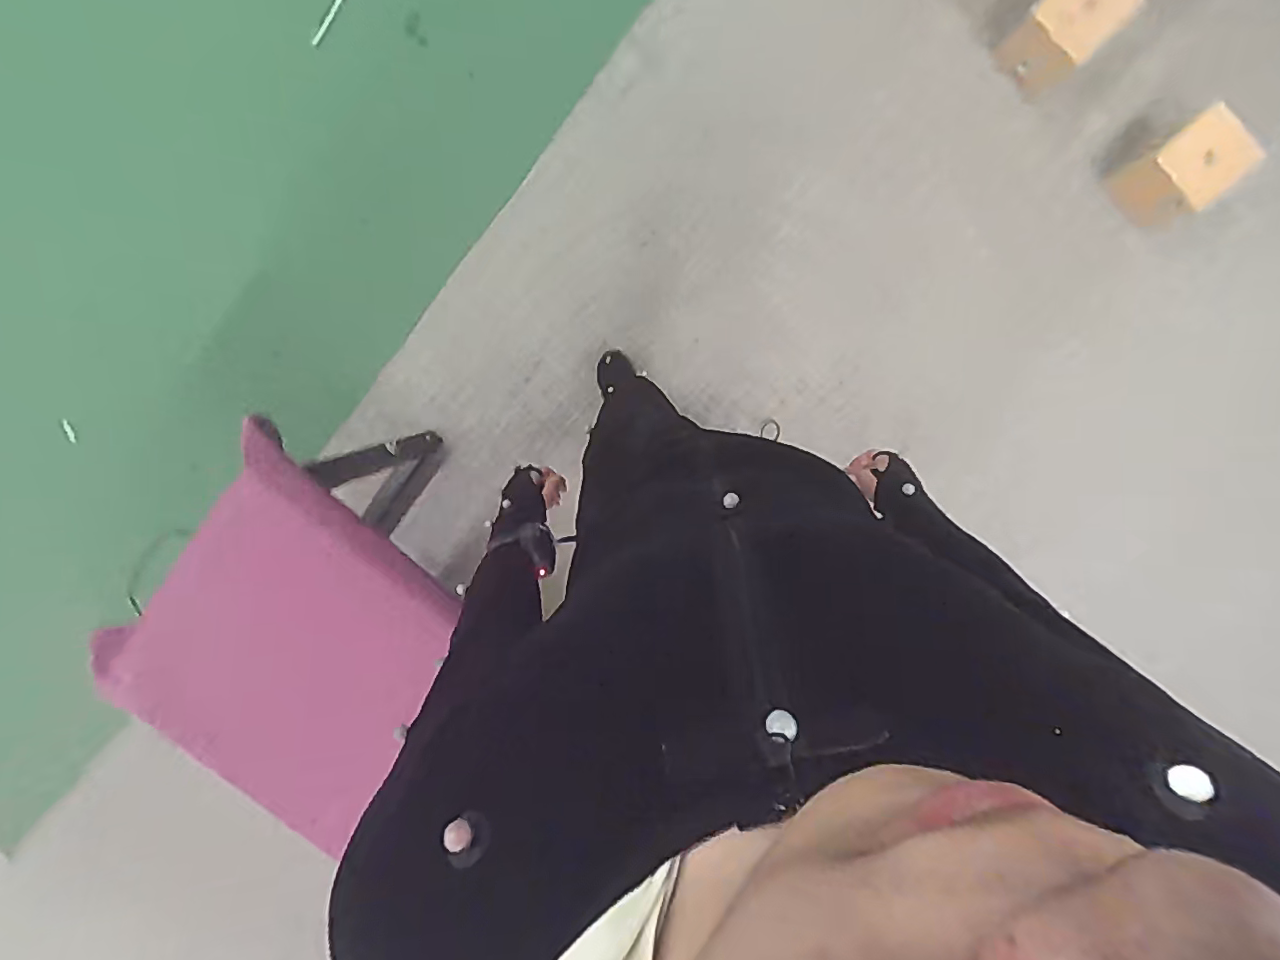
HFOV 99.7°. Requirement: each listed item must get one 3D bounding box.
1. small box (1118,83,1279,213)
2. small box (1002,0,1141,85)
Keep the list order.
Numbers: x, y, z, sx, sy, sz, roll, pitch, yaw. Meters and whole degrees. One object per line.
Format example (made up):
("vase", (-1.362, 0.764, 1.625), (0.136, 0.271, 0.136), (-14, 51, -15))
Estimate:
("small box", (1.297, -0.764, 1.269), (0.179, 0.176, 0.168), (43, 103, -5))
("small box", (0.985, -1.065, 1.231), (0.168, 0.176, 0.179), (43, 103, -4))
